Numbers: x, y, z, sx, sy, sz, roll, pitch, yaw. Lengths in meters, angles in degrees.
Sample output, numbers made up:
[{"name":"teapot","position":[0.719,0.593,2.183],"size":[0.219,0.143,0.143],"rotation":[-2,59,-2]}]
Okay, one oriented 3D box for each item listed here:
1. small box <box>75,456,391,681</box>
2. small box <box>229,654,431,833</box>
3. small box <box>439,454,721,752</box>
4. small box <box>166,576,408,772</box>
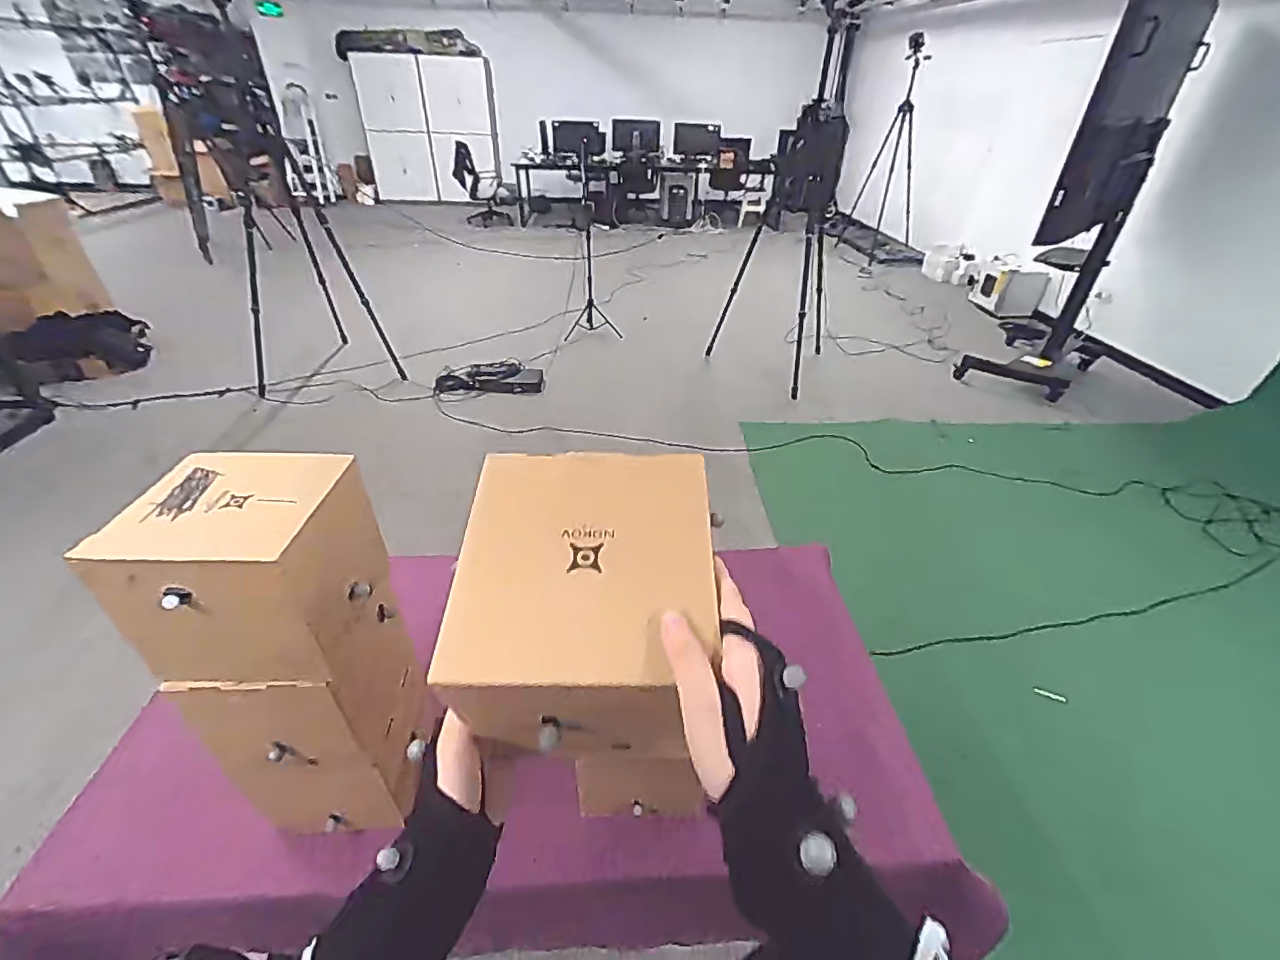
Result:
[{"name":"small box","position":[-0.389,0.090,0.561],"size":[0.179,0.176,0.168],"rotation":[2,35,-2]},{"name":"small box","position":[-0.404,0.362,0.747],"size":[0.179,0.176,0.168],"rotation":[-1,35,-5]},{"name":"small box","position":[-0.032,0.099,0.419],"size":[0.168,0.176,0.179],"rotation":[0,49,0]},{"name":"small box","position":[-0.399,0.225,0.655],"size":[0.168,0.176,0.179],"rotation":[-1,36,-3]}]
